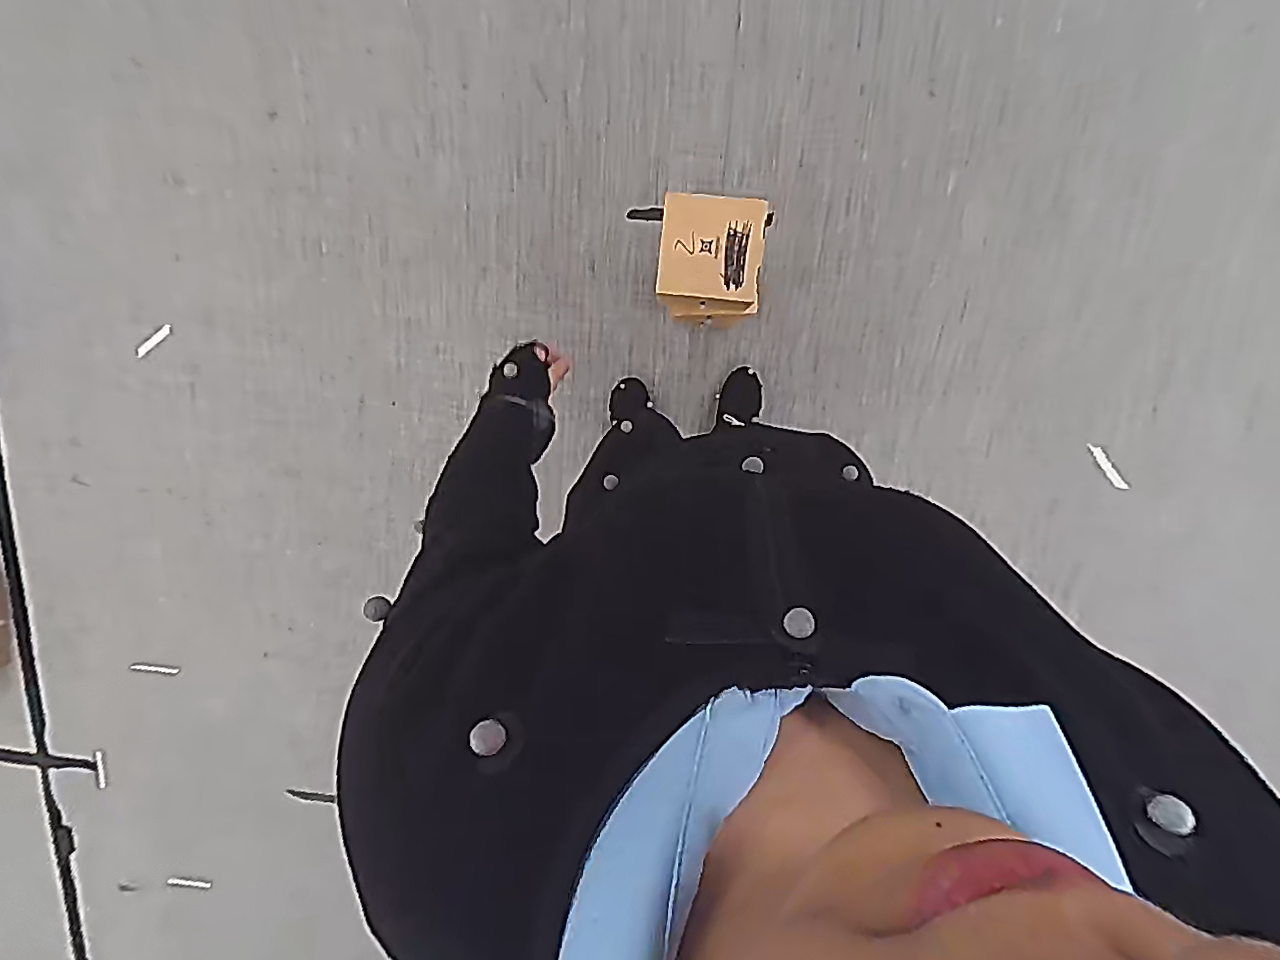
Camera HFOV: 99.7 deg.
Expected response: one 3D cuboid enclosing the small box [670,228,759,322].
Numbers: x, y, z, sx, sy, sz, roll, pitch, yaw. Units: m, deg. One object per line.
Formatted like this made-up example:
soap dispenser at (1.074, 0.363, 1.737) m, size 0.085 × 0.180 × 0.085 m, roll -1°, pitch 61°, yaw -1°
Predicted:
small box at (0.152, -0.432, 1.157) m, size 0.179 × 0.176 × 0.168 m, roll -1°, pitch 101°, yaw 4°
